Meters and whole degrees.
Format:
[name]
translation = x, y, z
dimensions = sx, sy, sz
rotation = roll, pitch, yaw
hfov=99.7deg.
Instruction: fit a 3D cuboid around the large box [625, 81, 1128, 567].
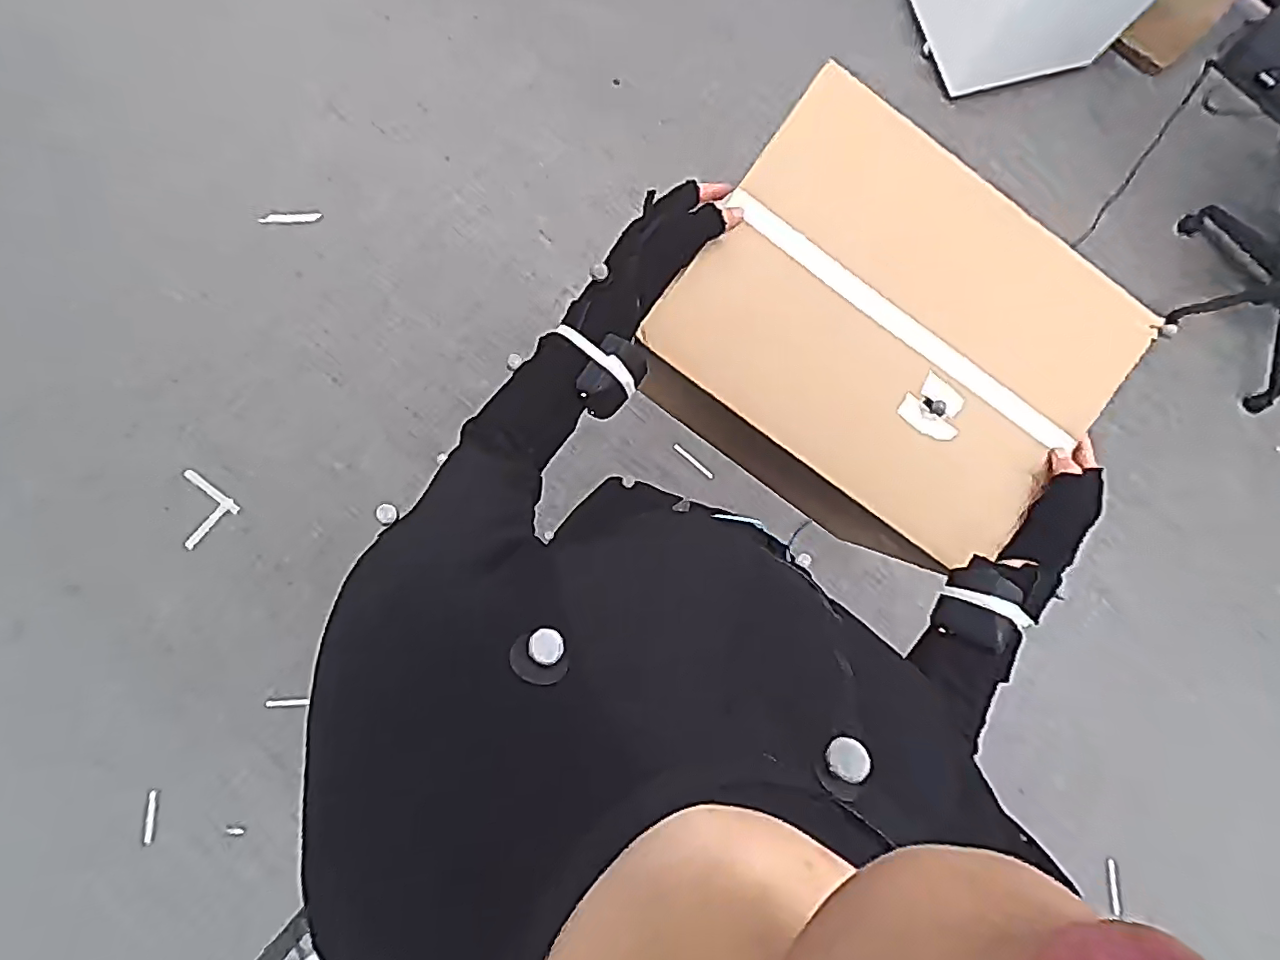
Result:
[large box]
translation = 0.231, -0.152, 0.673
dimensions = 0.408, 0.320, 0.320
rotation = 36, 91, -4
